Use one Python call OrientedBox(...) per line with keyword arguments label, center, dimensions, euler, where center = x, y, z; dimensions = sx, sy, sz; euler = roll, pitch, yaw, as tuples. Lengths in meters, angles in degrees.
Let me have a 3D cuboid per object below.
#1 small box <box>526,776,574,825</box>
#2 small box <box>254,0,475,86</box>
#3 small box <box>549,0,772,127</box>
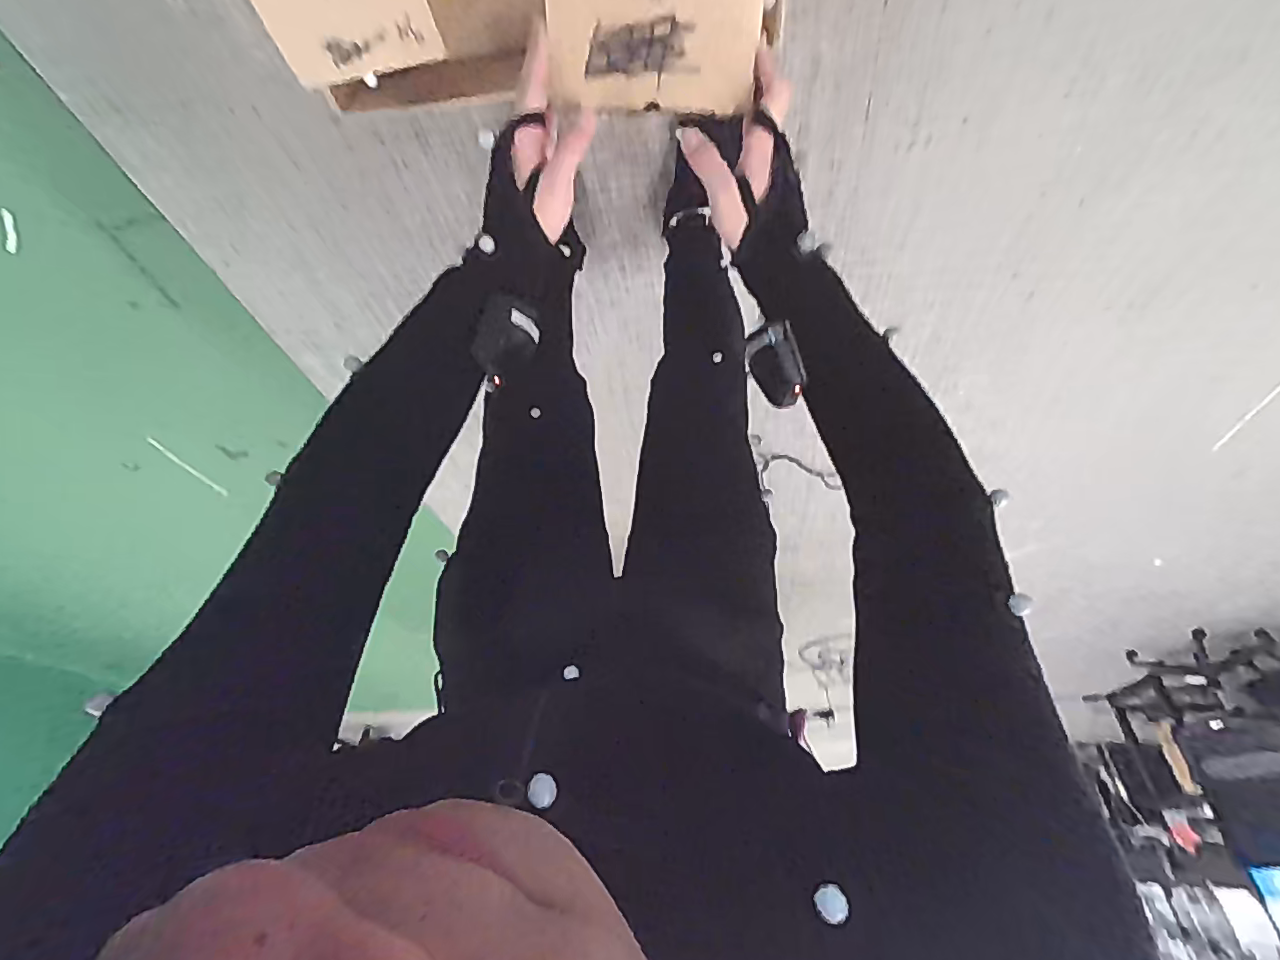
OrientedBox(label="small box", center=(-0.387, 1.400, 2.361), dimensions=(0.168, 0.176, 0.179), euler=(-7, 144, 5))
OrientedBox(label="small box", center=(-0.281, -0.528, 0.527), dimensions=(0.168, 0.176, 0.179), euler=(-5, 144, 8))
OrientedBox(label="small box", center=(0.017, -0.406, 0.449), dimensions=(0.168, 0.176, 0.179), euler=(1, 127, 0))
